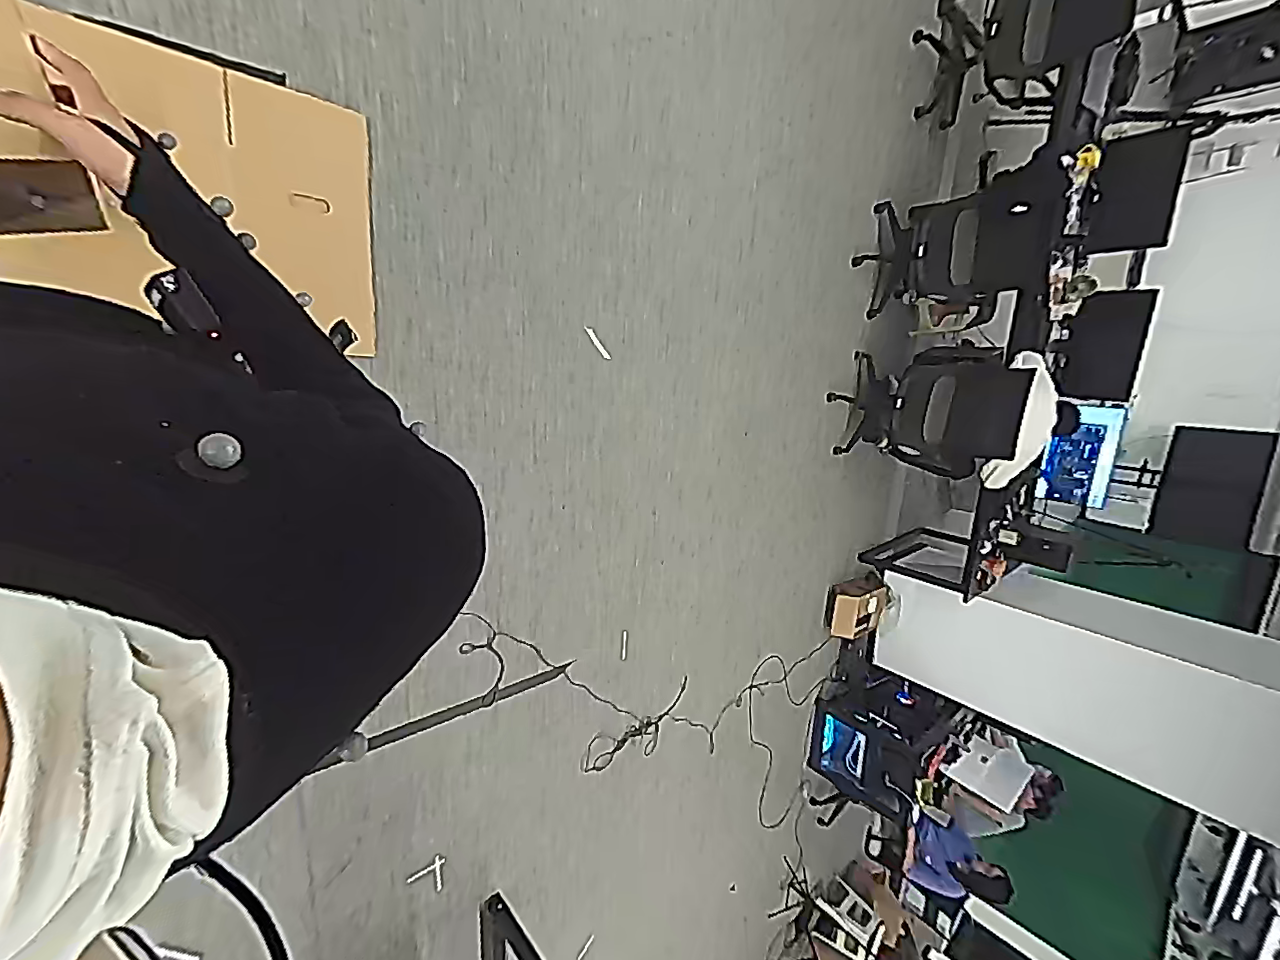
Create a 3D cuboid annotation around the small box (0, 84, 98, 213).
[{"bbox_3d":[-1.116,-0.598,0.980,0.179,0.176,0.168,-7,106,-41],"label":"small box"}]
